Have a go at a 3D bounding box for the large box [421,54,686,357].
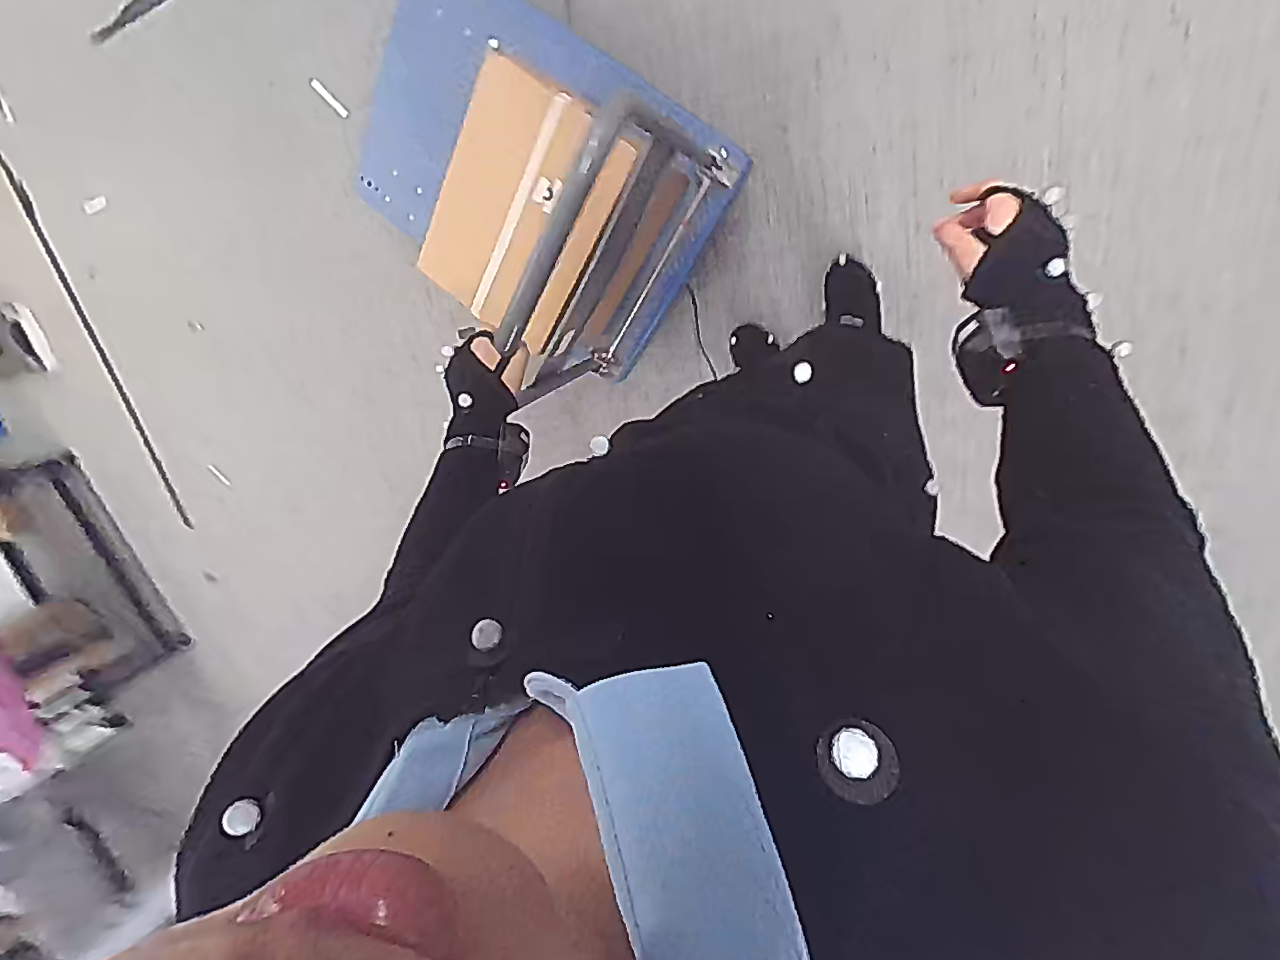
[{"bbox_3d":[-0.169,-0.519,1.101,0.320,0.320,0.408,38,119,3],"label":"large box"}]
